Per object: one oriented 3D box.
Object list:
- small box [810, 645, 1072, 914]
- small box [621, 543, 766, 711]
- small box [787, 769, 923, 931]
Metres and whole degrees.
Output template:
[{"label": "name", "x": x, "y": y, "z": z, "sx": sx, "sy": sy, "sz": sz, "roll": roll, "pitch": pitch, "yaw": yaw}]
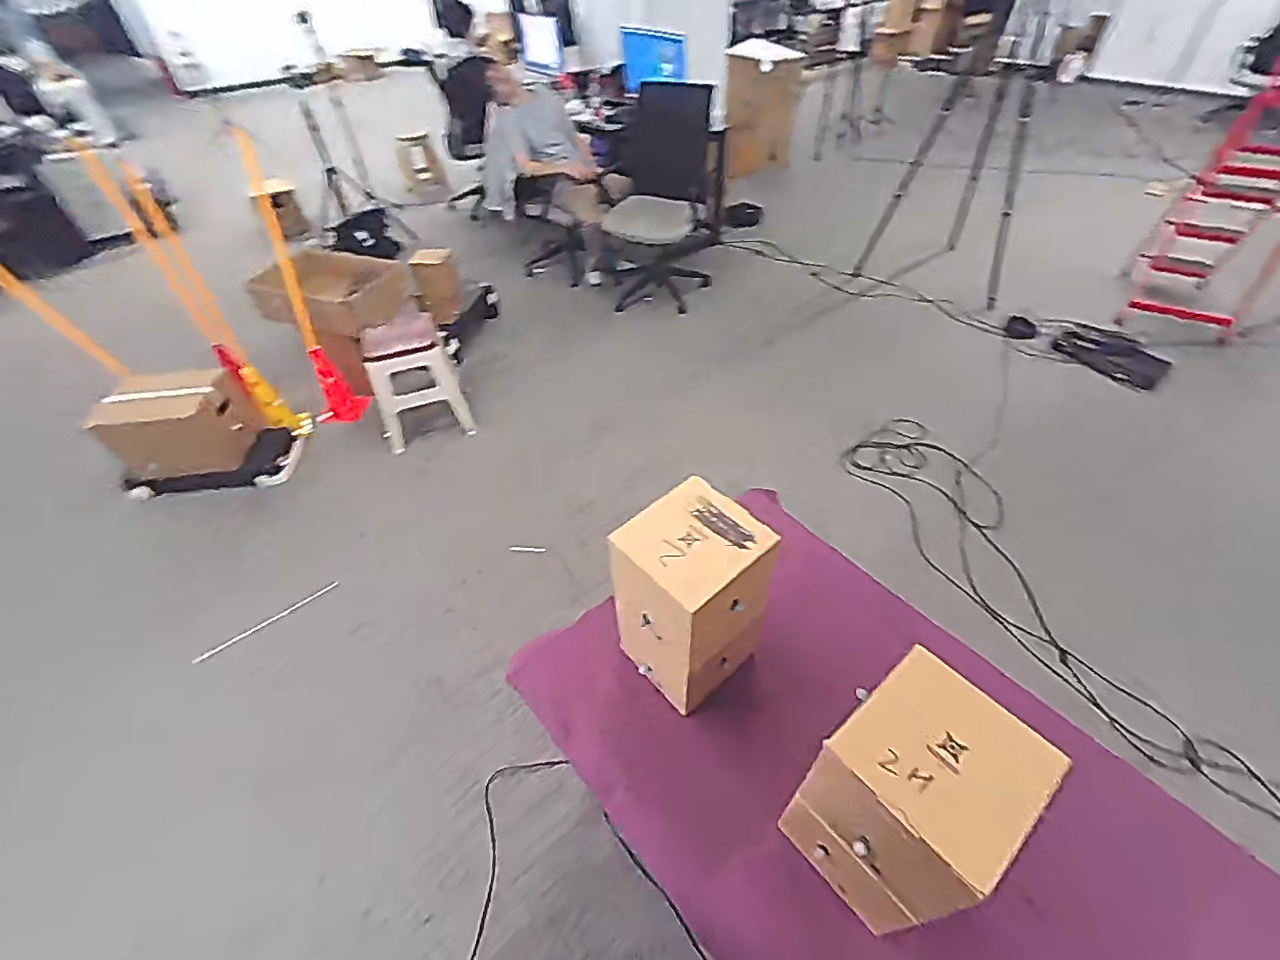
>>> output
[{"label": "small box", "x": 0.313, "y": 0.327, "z": 0.597, "sx": 0.179, "sy": 0.176, "sz": 0.168, "roll": -31, "pitch": 51, "yaw": -25}, {"label": "small box", "x": 0.085, "y": 0.247, "z": 0.911, "sx": 0.179, "sy": 0.176, "sz": 0.168, "roll": -33, "pitch": 53, "yaw": -26}, {"label": "small box", "x": 0.313, "y": 0.444, "z": 0.712, "sx": 0.179, "sy": 0.176, "sz": 0.168, "roll": -32, "pitch": 52, "yaw": -26}]
